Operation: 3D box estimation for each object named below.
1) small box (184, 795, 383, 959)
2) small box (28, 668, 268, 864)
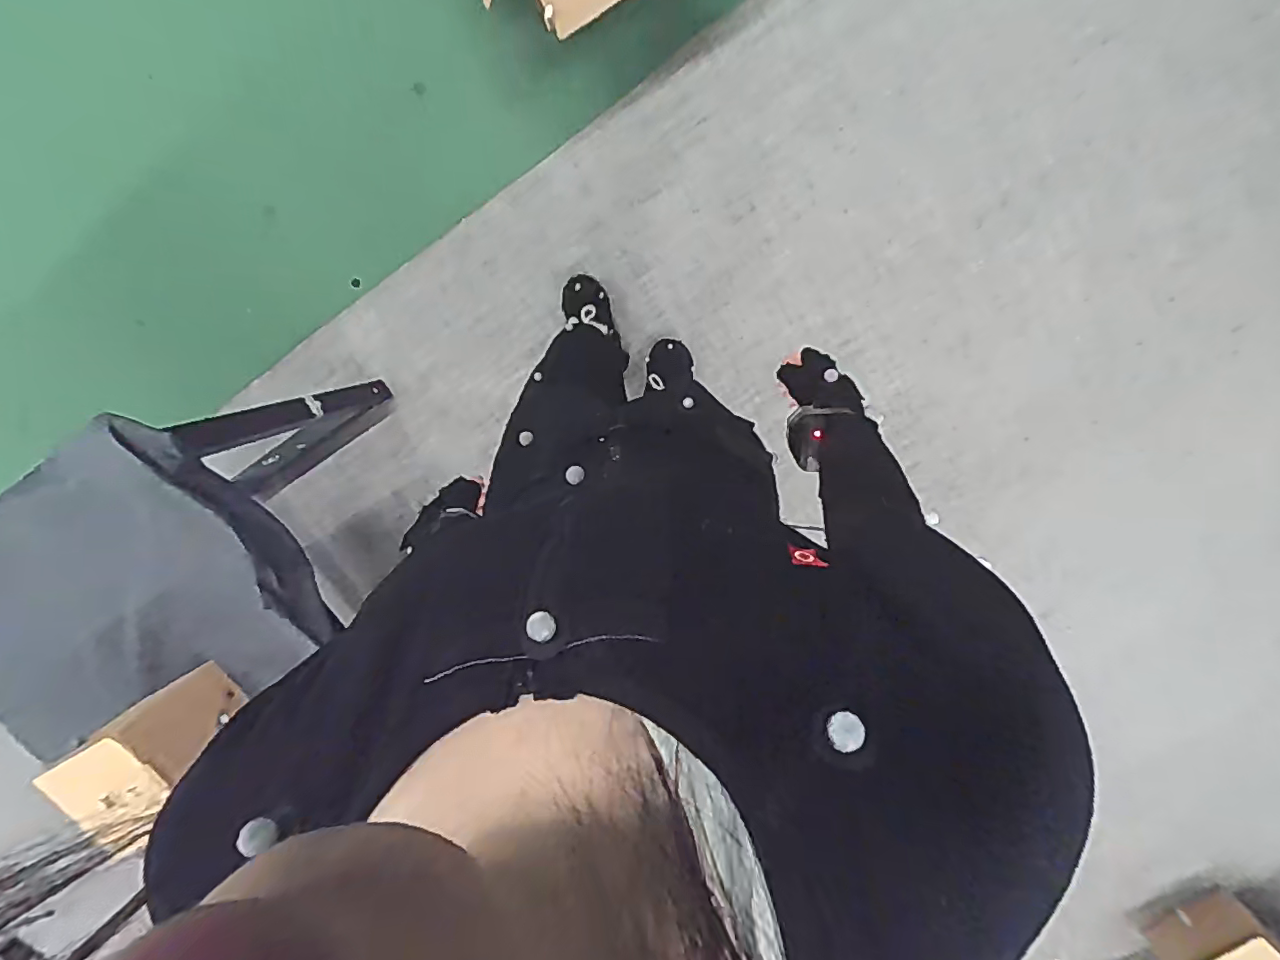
[{"bbox_3d":[-0.570,0.669,0.891,0.179,0.176,0.168,-29,103,10],"label":"small box"},{"bbox_3d":[-0.727,0.425,0.823,0.179,0.176,0.168,-29,104,11],"label":"small box"}]
